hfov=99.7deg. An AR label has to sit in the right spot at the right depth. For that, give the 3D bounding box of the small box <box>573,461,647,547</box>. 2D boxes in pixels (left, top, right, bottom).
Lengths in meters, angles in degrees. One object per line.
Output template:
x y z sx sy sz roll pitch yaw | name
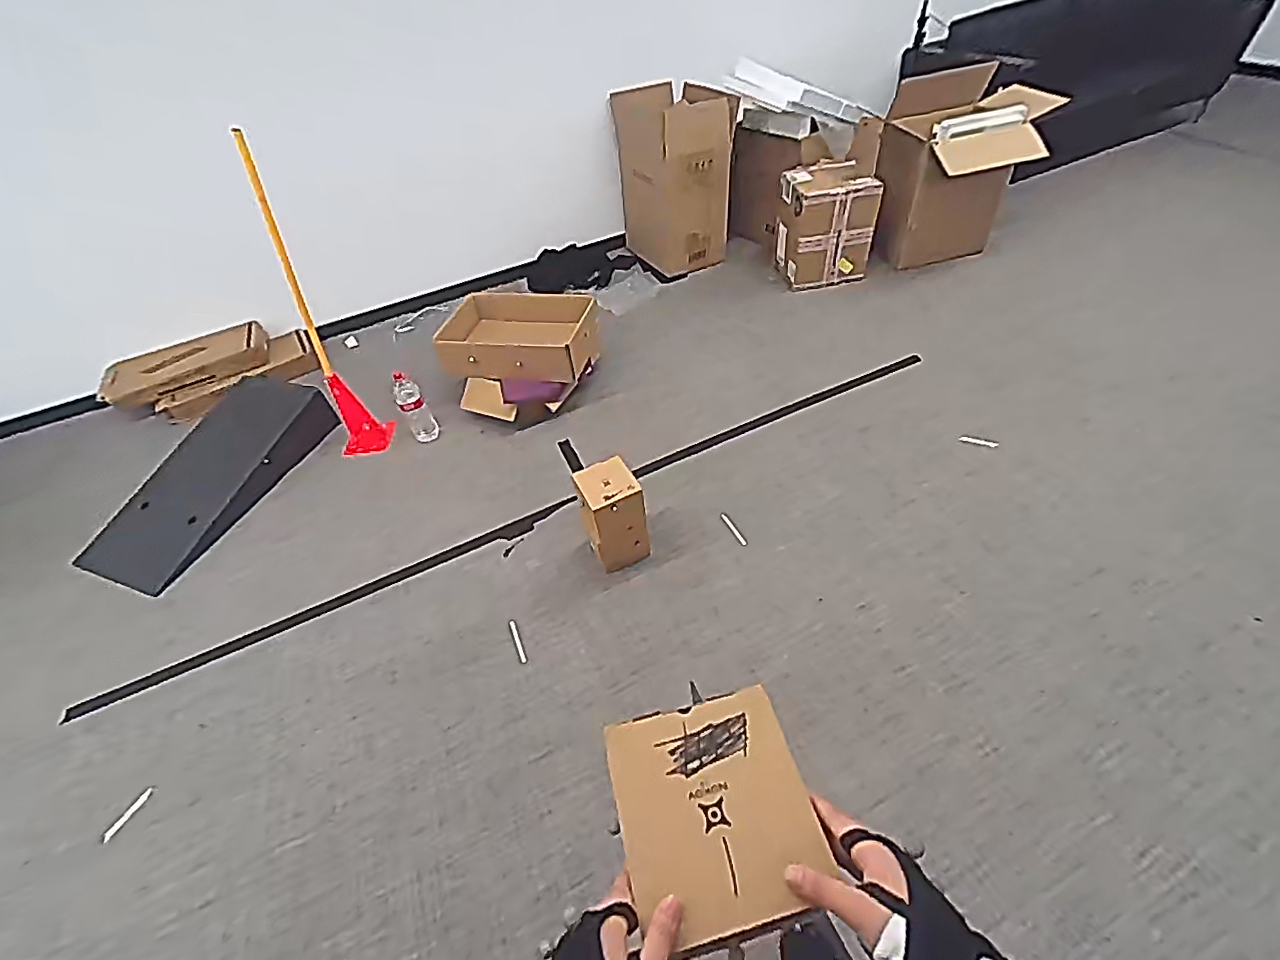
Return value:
-0.093 0.077 1.700 0.168 0.176 0.179 -24 46 -14 | small box

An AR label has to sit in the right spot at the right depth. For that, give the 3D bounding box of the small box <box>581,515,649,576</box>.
-0.078 0.191 1.818 0.179 0.176 0.168 -23 47 -12 | small box

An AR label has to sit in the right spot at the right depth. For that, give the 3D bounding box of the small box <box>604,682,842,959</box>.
0.066 0.332 0.528 0.168 0.176 0.179 -13 47 -7 | small box
